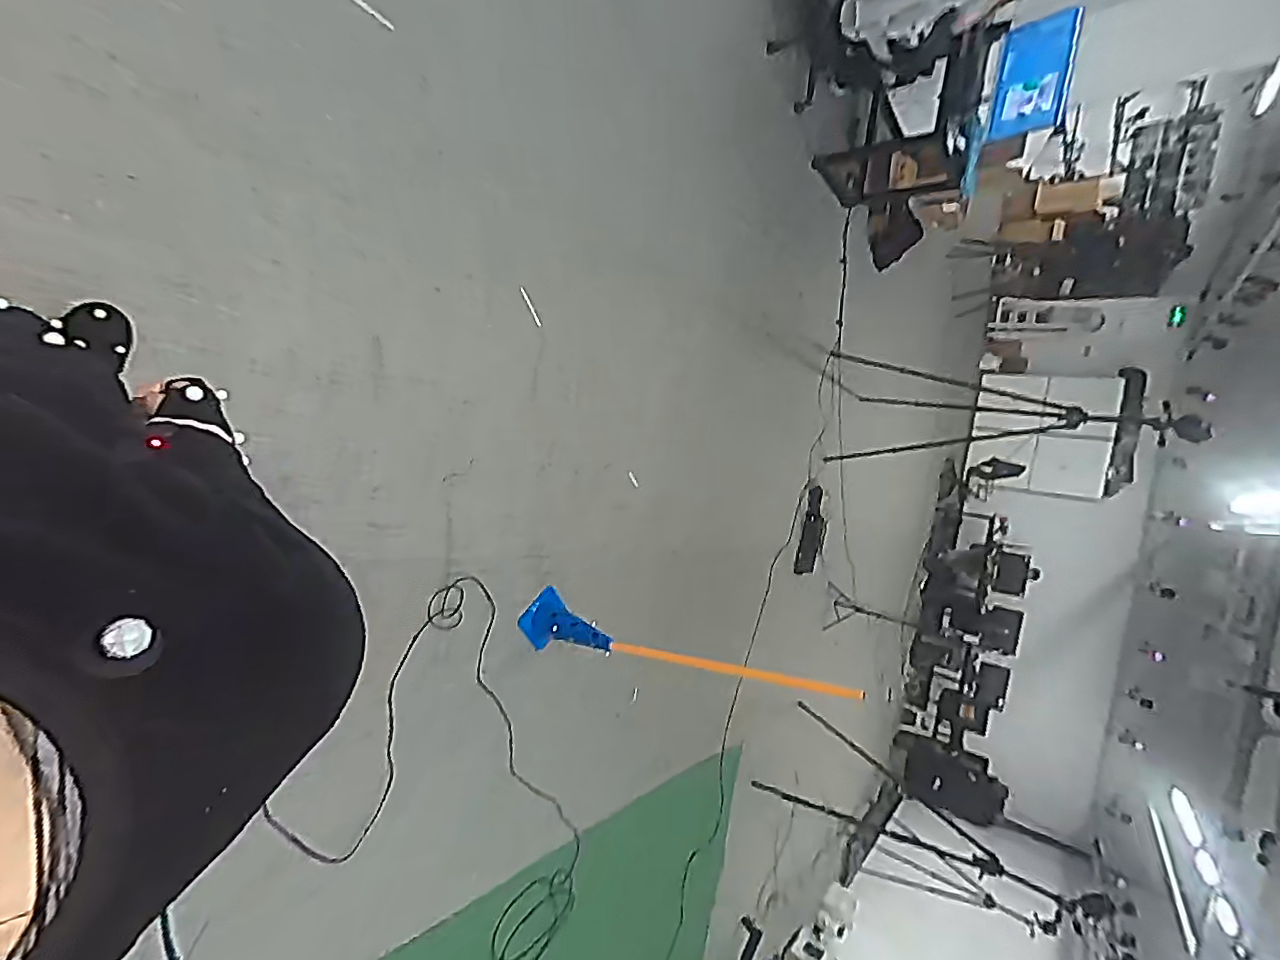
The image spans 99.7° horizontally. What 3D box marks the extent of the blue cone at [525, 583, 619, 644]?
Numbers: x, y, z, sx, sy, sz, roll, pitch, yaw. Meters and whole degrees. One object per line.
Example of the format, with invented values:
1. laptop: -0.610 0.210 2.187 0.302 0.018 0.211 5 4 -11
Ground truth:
1. blue cone: -0.234 0.537 2.016 0.193 0.380 0.192 -52 134 -33
